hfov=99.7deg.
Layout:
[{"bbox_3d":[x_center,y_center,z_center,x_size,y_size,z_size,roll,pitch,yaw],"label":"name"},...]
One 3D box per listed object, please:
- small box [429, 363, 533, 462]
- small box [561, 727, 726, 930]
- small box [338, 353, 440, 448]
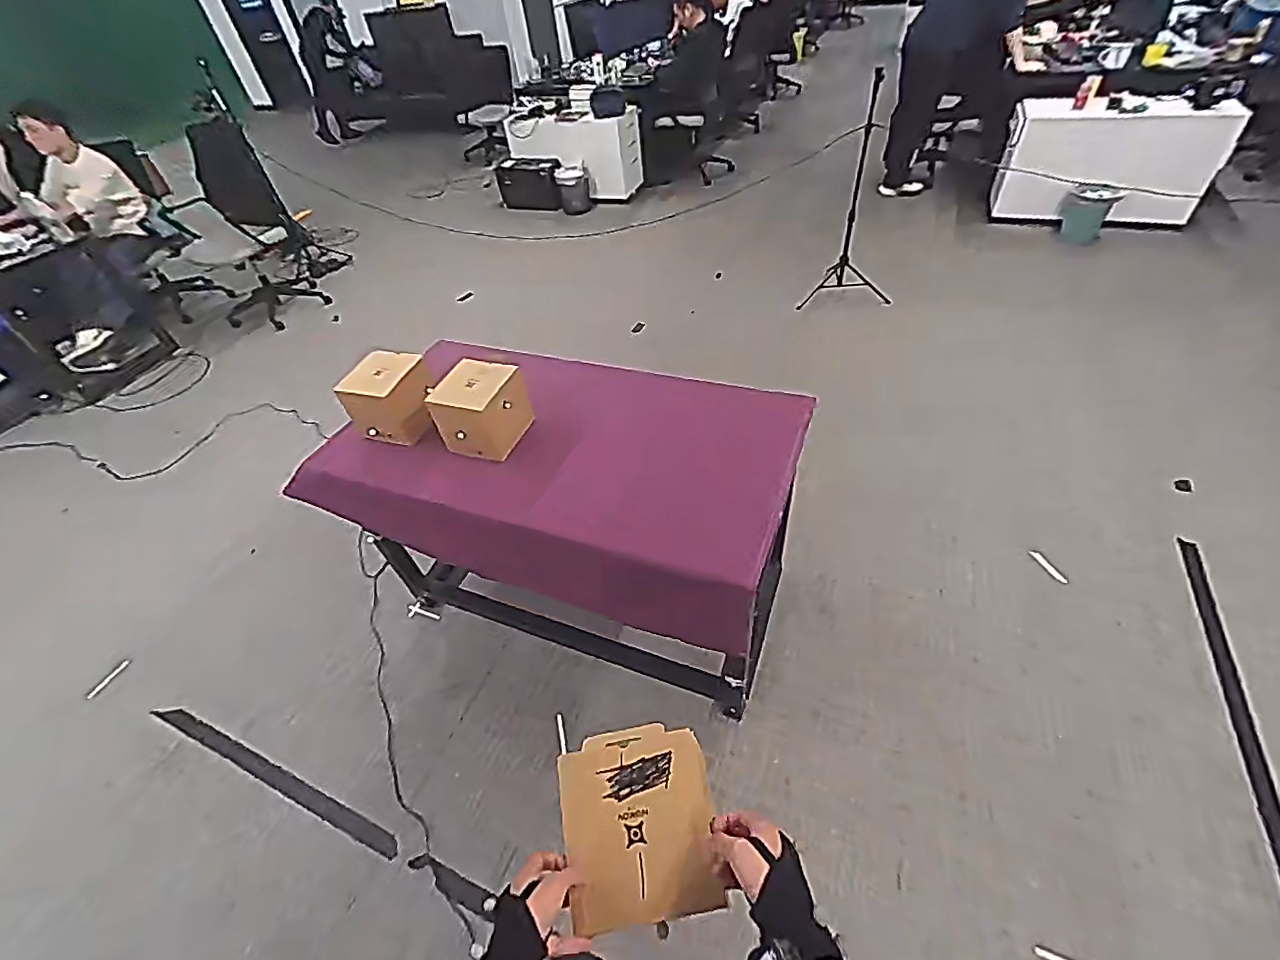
[{"bbox_3d":[-0.390,-0.169,1.366,0.168,0.176,0.179,12,49,18],"label":"small box"},{"bbox_3d":[0.006,0.435,0.677,0.168,0.176,0.179,-14,53,2],"label":"small box"},{"bbox_3d":[-0.650,-0.213,1.443,0.168,0.176,0.179,10,48,17],"label":"small box"}]
